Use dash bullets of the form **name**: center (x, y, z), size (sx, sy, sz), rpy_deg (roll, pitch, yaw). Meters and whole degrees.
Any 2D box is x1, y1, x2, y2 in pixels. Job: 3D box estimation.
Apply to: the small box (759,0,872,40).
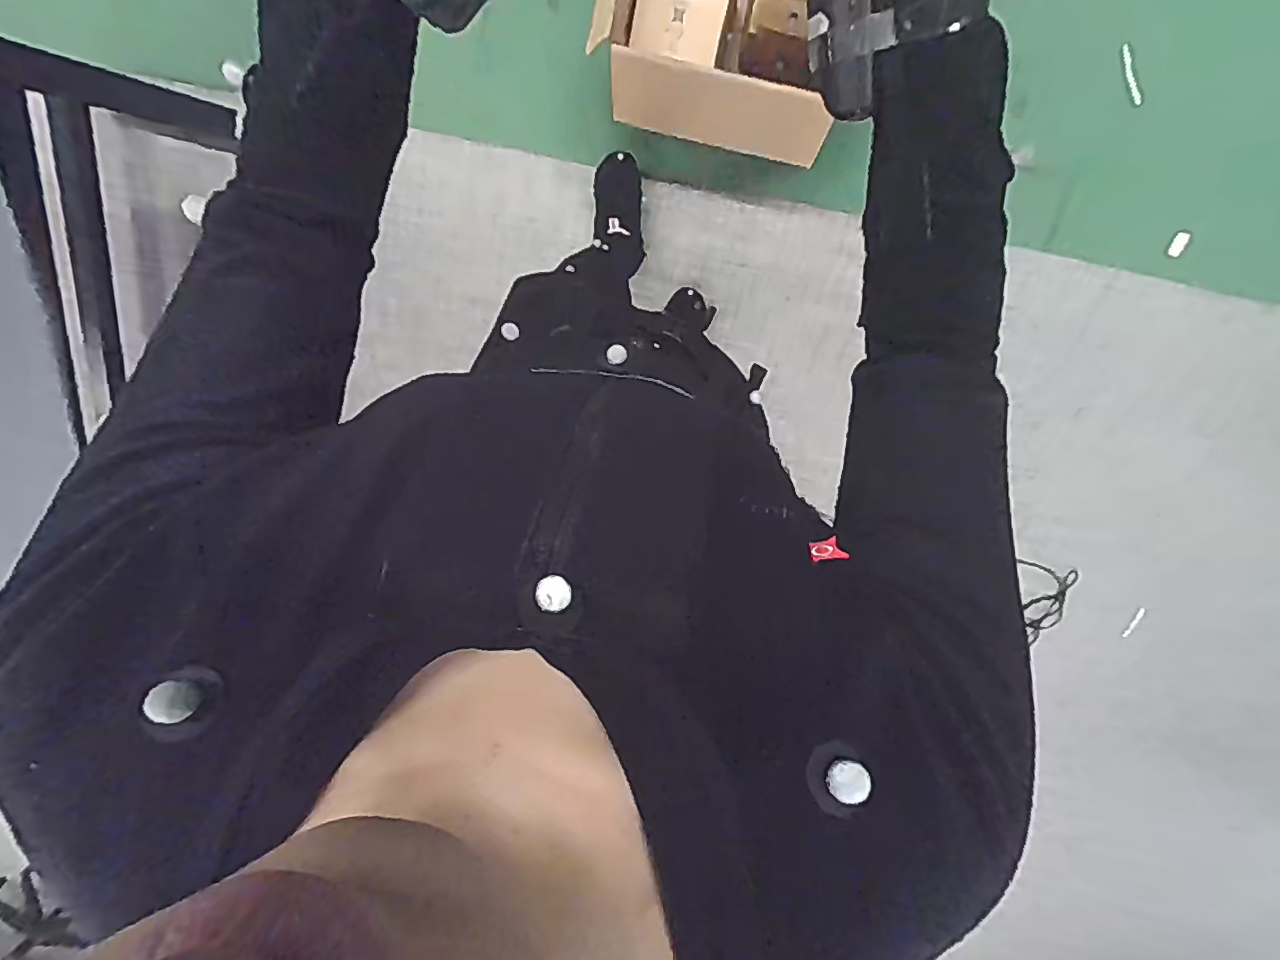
- **small box**: center (0.295, -0.837, 0.848), size (0.168, 0.176, 0.179), rpy_deg (15, 114, -4)
